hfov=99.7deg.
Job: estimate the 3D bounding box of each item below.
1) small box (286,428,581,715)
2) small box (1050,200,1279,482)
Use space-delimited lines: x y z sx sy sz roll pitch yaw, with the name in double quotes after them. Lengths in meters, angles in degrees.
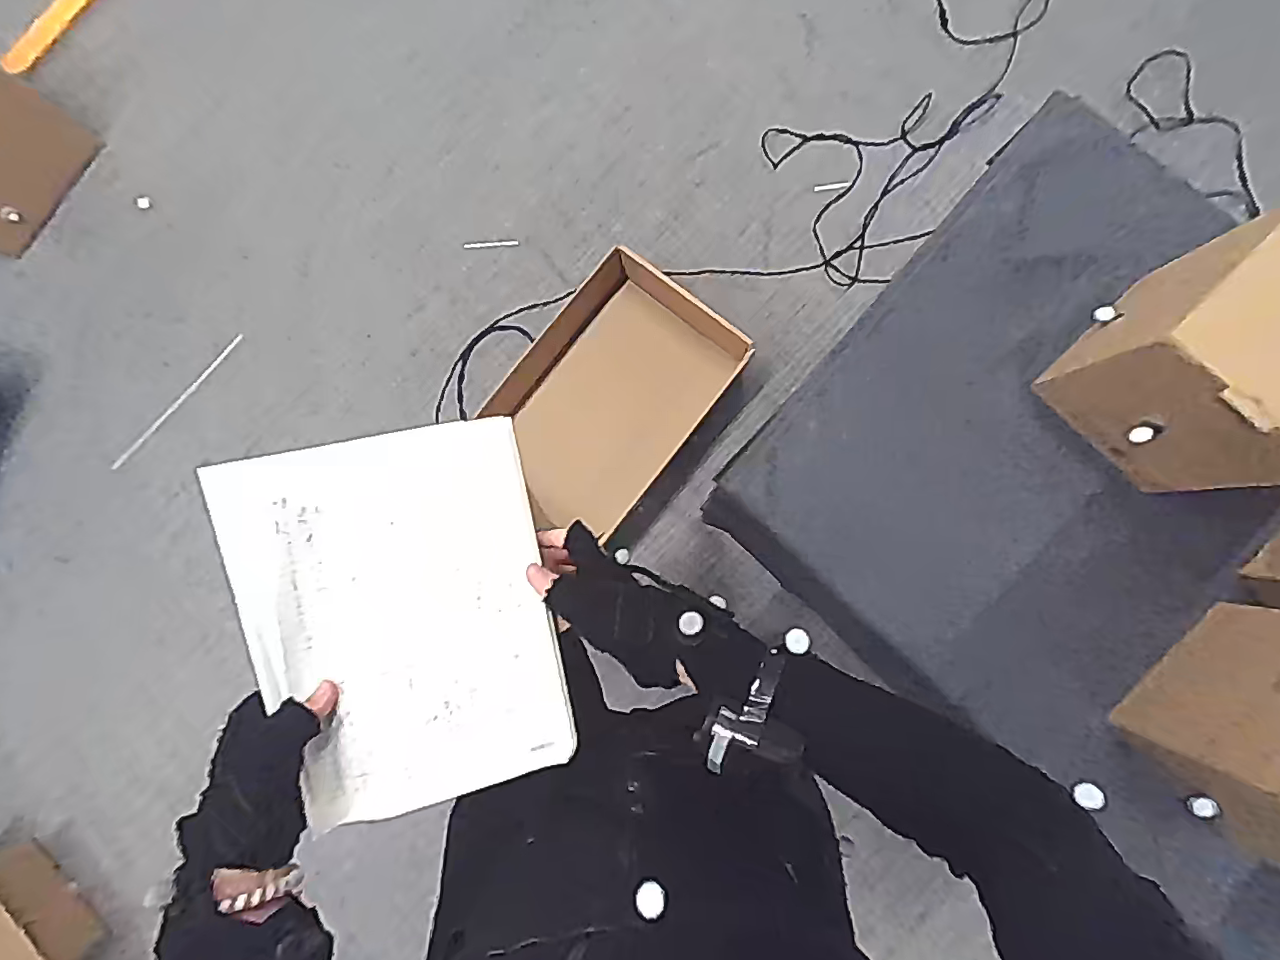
-0.168 0.074 0.504 0.168 0.176 0.179 -30 87 -3 "small box"
0.537 -0.114 0.502 0.179 0.176 0.168 -45 84 0 "small box"
